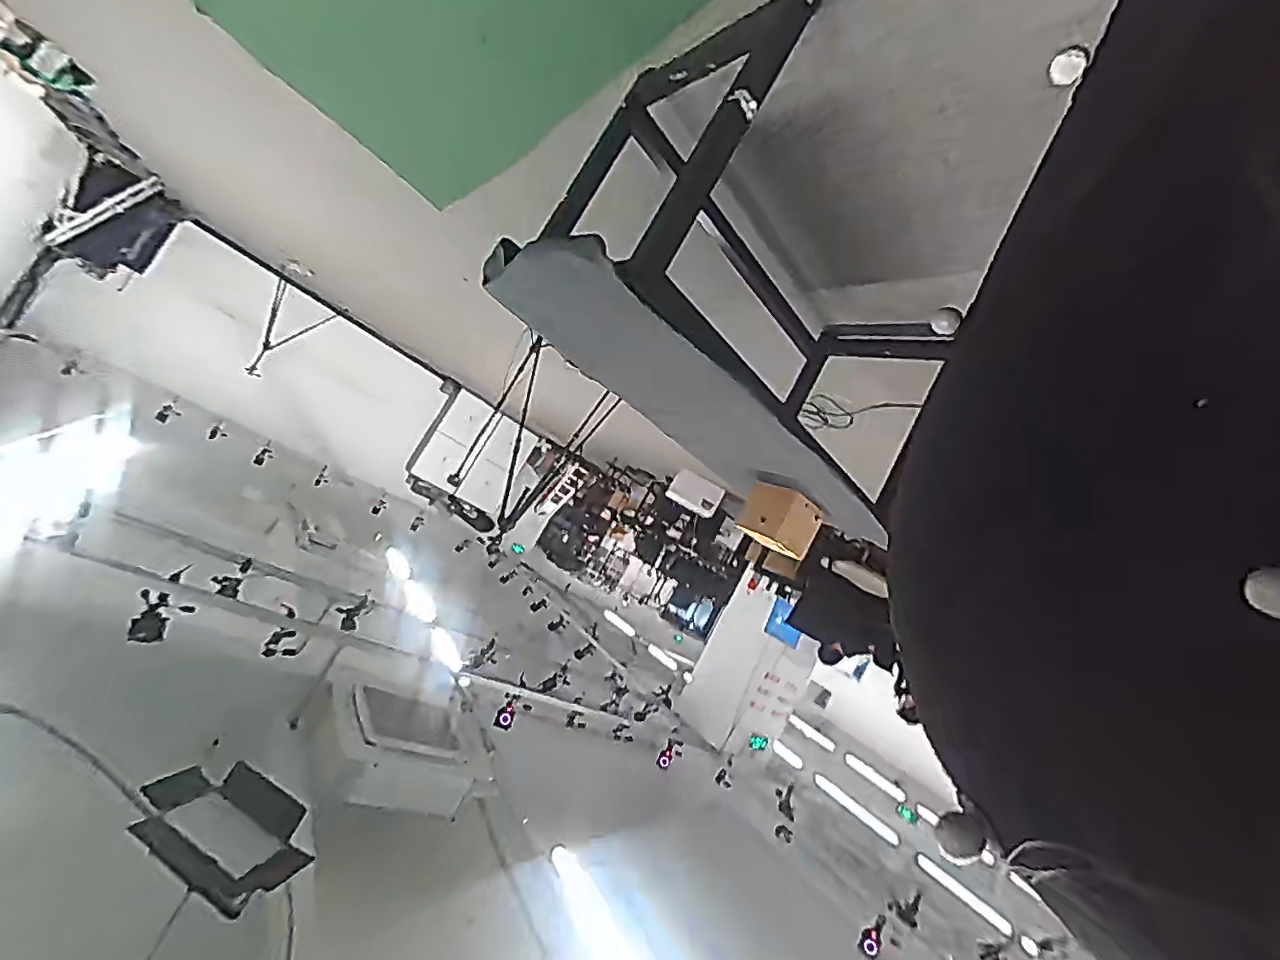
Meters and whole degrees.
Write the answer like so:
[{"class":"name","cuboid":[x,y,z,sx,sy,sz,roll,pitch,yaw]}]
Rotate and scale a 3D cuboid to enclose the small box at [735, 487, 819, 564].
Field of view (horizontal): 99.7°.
[{"class":"small box","cuboid":[0.440,0.139,1.709,0.168,0.176,0.179,35,172,-33]}]
